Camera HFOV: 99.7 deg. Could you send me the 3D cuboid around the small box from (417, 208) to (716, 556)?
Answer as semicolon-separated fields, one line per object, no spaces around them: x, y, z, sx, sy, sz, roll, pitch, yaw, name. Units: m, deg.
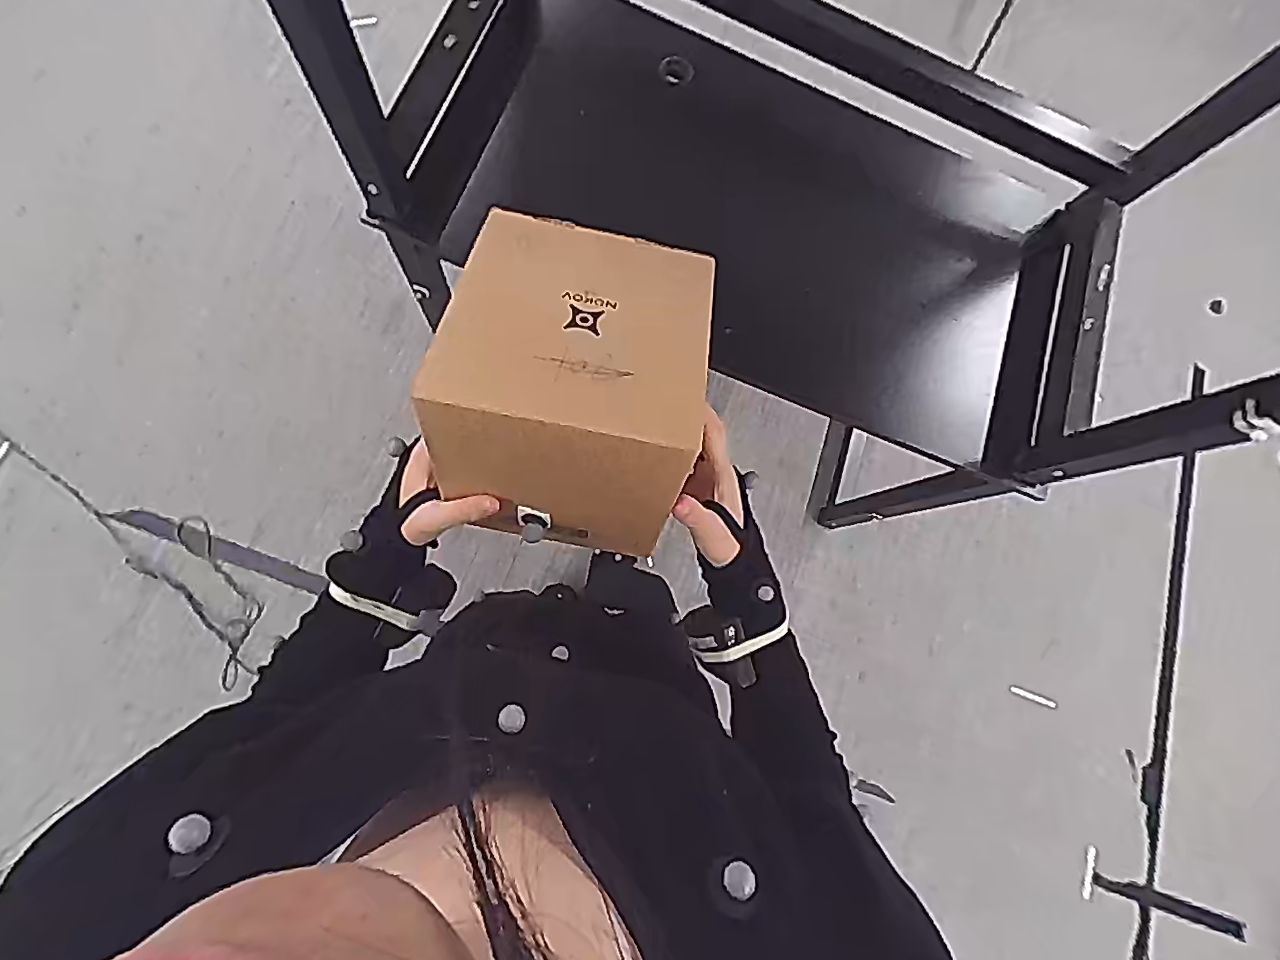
-0.046;-0.063;0.409;0.168;0.176;0.179;10;60;-4;small box
